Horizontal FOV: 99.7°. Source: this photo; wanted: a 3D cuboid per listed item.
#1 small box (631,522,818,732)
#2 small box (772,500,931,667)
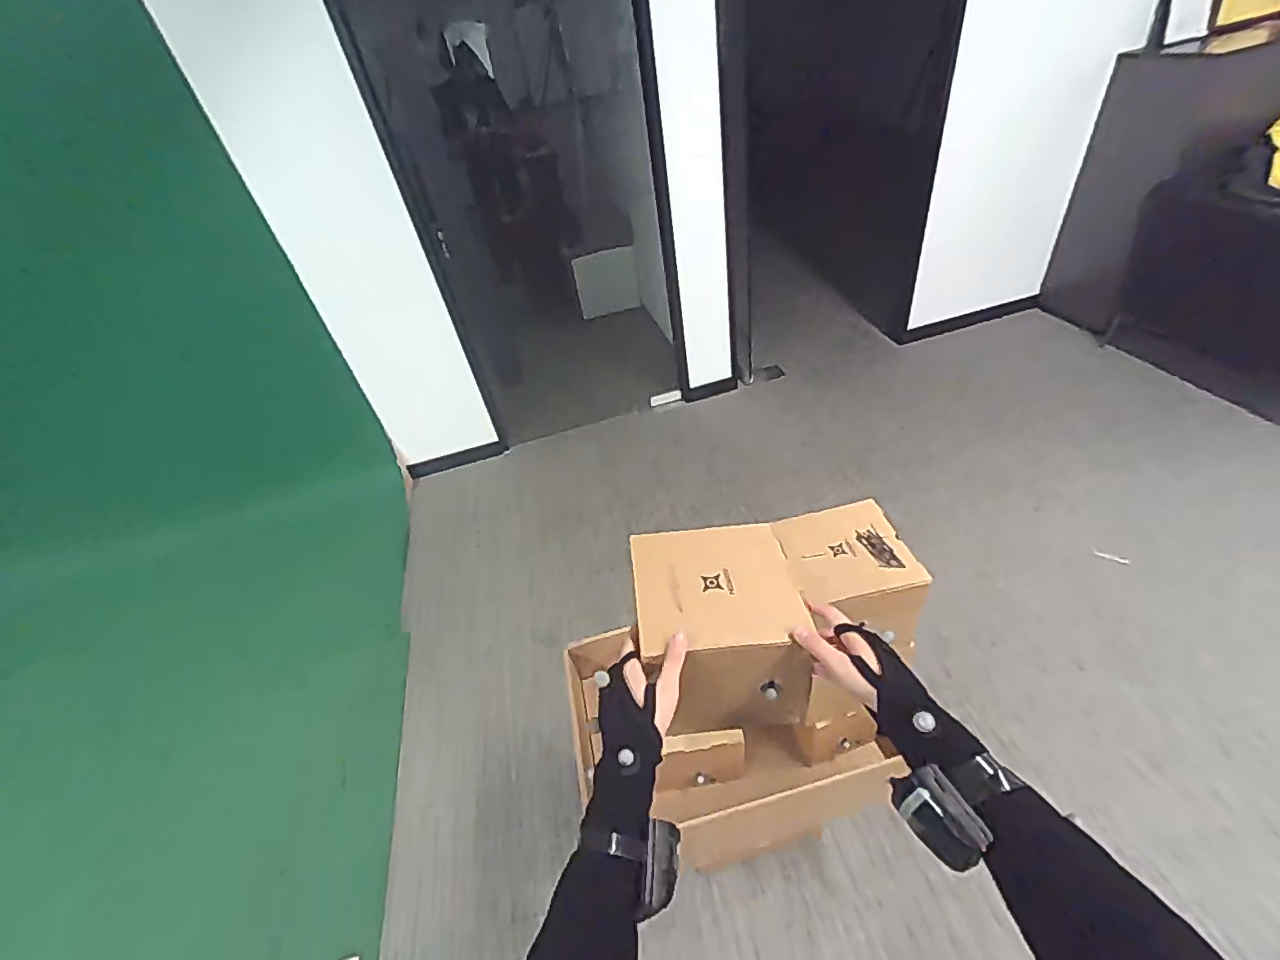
[{"bbox_3d":[0.084,0.170,0.626,0.179,0.176,0.168,-5,39,0],"label":"small box"},{"bbox_3d":[0.306,0.160,0.832,0.179,0.176,0.168,-13,41,-1],"label":"small box"}]
